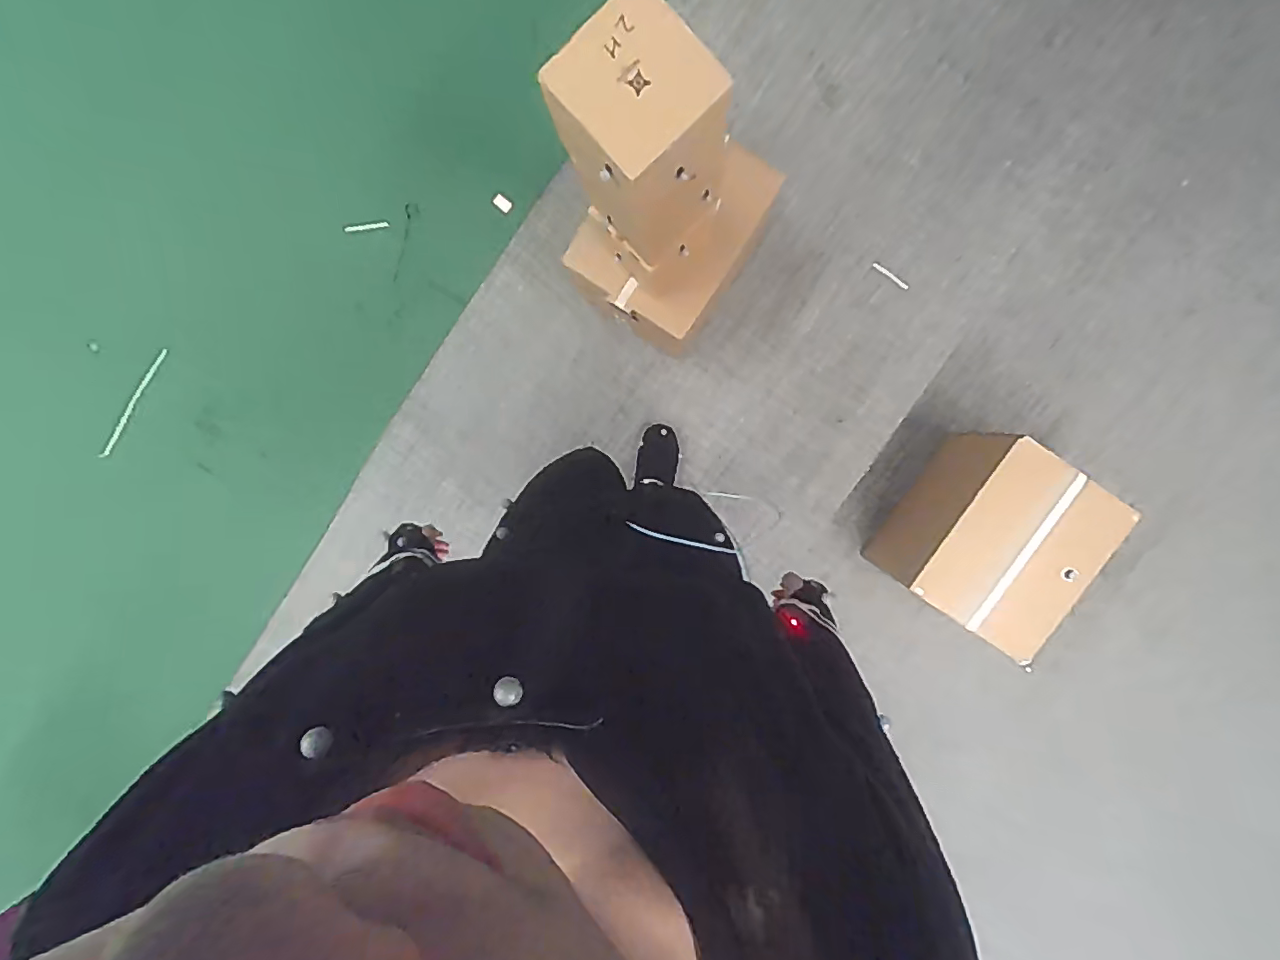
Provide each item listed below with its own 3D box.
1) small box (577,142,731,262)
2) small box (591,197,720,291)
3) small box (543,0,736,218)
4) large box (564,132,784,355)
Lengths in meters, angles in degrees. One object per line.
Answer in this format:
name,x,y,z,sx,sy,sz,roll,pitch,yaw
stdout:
small box,0.023,-0.495,0.882,0.179,0.176,0.168,-42,91,7
small box,0.029,-0.501,1.045,0.168,0.176,0.179,45,96,-2
small box,0.004,-0.481,0.719,0.168,0.176,0.179,-41,92,6
large box,0.075,-0.564,1.280,0.320,0.320,0.408,34,95,-1
